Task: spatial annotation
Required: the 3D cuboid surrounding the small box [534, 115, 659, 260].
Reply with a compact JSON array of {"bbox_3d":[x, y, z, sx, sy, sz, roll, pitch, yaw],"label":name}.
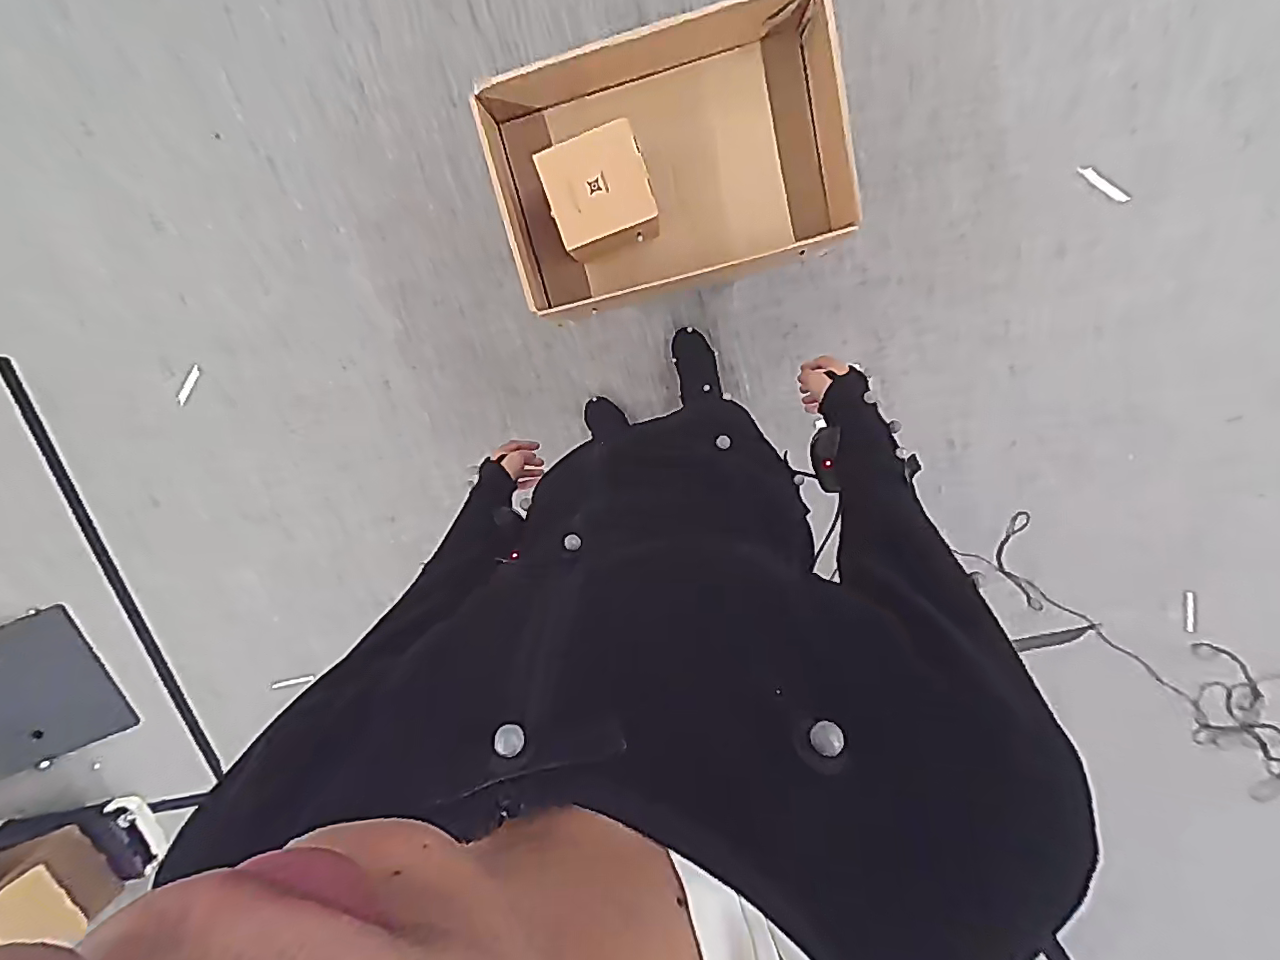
[{"bbox_3d":[-0.072,-0.525,0.998,0.179,0.176,0.168,-18,102,7],"label":"small box"}]
